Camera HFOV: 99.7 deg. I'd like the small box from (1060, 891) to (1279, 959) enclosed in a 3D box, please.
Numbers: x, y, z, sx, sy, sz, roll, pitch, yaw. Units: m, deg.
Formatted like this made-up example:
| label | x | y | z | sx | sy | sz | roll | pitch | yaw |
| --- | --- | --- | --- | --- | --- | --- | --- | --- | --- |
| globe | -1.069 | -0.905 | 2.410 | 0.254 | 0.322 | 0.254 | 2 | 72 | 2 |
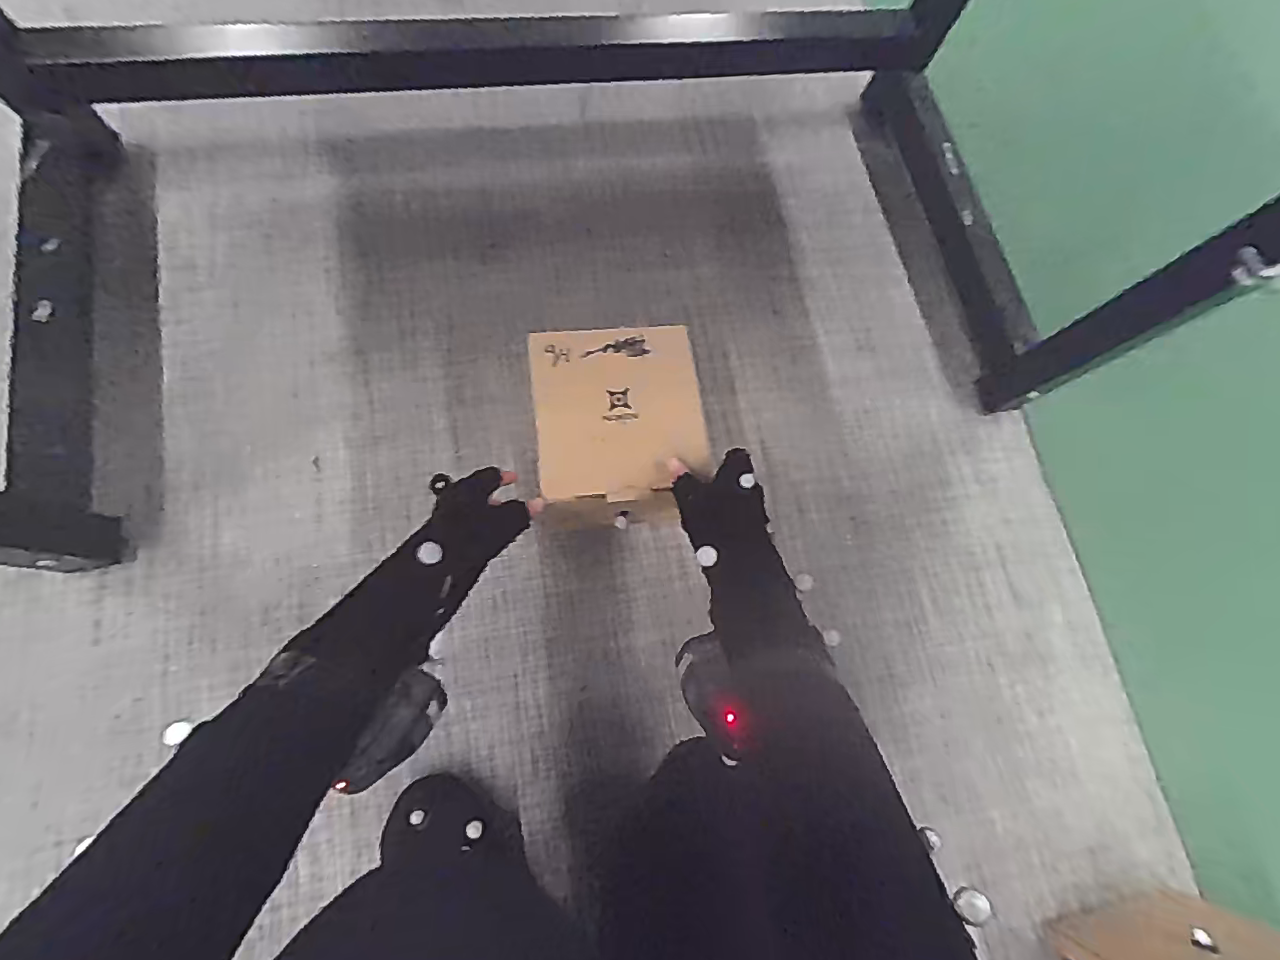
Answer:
| label | x | y | z | sx | sy | sz | roll | pitch | yaw |
| --- | --- | --- | --- | --- | --- | --- | --- | --- | --- |
| small box | 0.555 | 0.539 | 0.519 | 0.179 | 0.176 | 0.168 | -7 | 75 | -9 |
